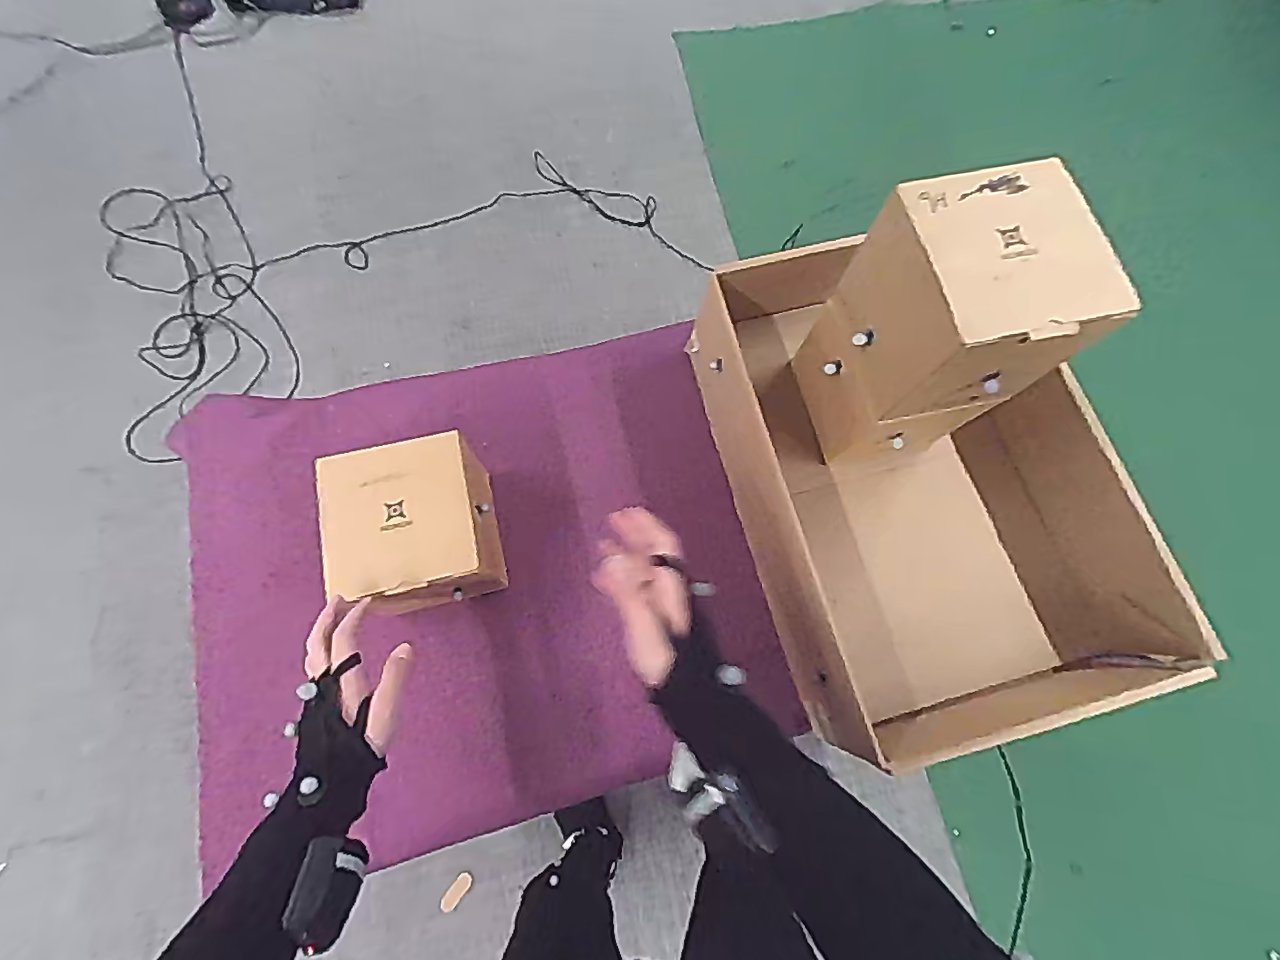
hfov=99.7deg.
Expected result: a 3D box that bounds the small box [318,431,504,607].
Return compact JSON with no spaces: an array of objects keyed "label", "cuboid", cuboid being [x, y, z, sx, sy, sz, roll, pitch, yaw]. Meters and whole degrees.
[{"label":"small box","cuboid":[-0.281,0.060,0.692,0.168,0.176,0.179,-12,74,-6]}]

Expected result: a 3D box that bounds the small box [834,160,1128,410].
[{"label":"small box","cuboid":[0.328,-0.185,0.562,0.168,0.176,0.179,-11,75,-4]}]

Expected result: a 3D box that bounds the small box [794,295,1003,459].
[{"label":"small box","cuboid":[0.324,-0.137,0.718,0.168,0.176,0.179,-12,74,-4]}]
